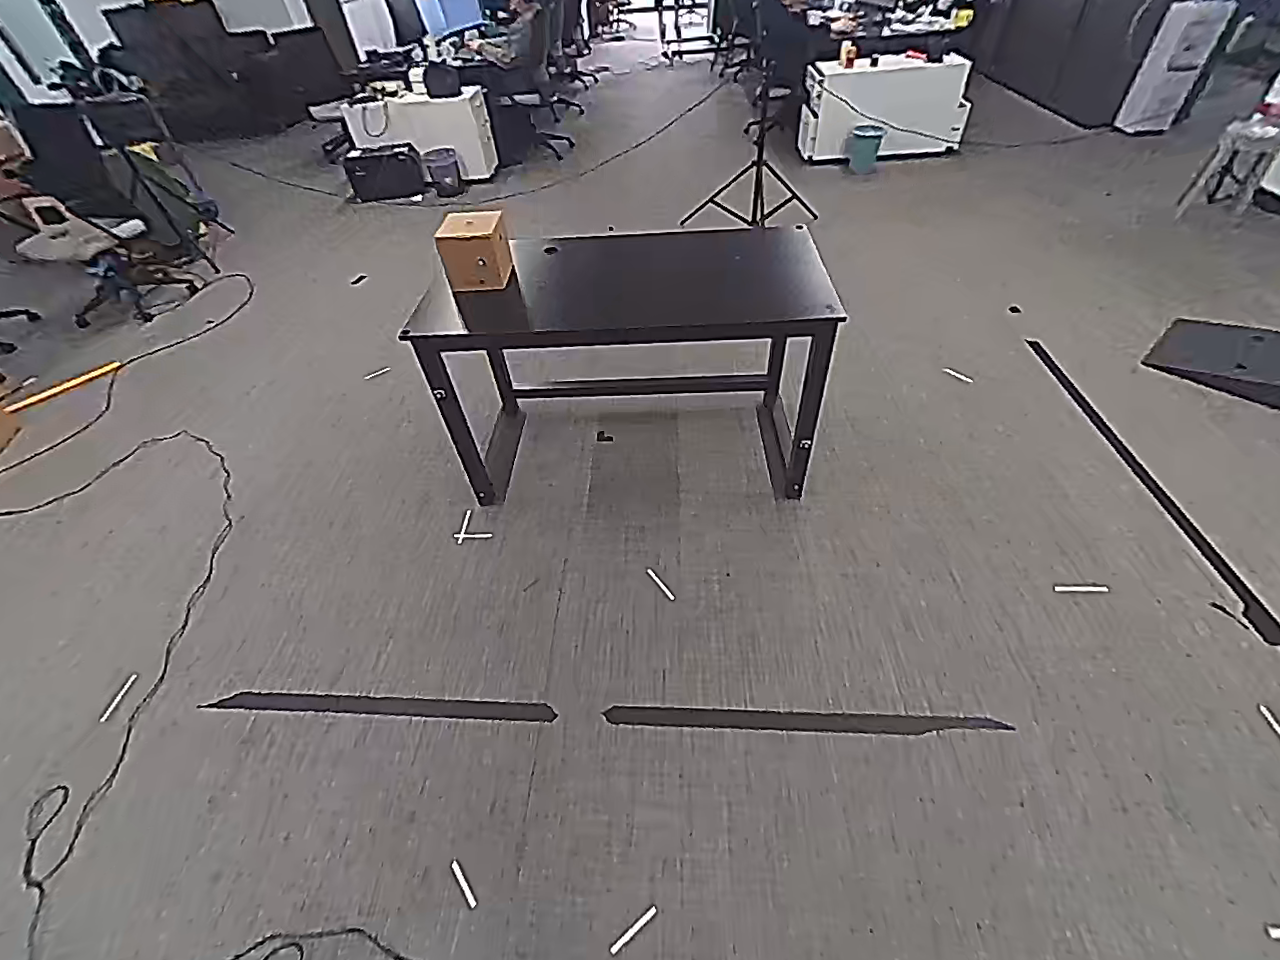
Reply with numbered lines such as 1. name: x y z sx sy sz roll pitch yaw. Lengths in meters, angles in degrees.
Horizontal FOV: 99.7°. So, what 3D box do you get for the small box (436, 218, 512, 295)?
1. small box: -0.499 -0.678 1.652 0.168 0.176 0.179 -1 45 2
